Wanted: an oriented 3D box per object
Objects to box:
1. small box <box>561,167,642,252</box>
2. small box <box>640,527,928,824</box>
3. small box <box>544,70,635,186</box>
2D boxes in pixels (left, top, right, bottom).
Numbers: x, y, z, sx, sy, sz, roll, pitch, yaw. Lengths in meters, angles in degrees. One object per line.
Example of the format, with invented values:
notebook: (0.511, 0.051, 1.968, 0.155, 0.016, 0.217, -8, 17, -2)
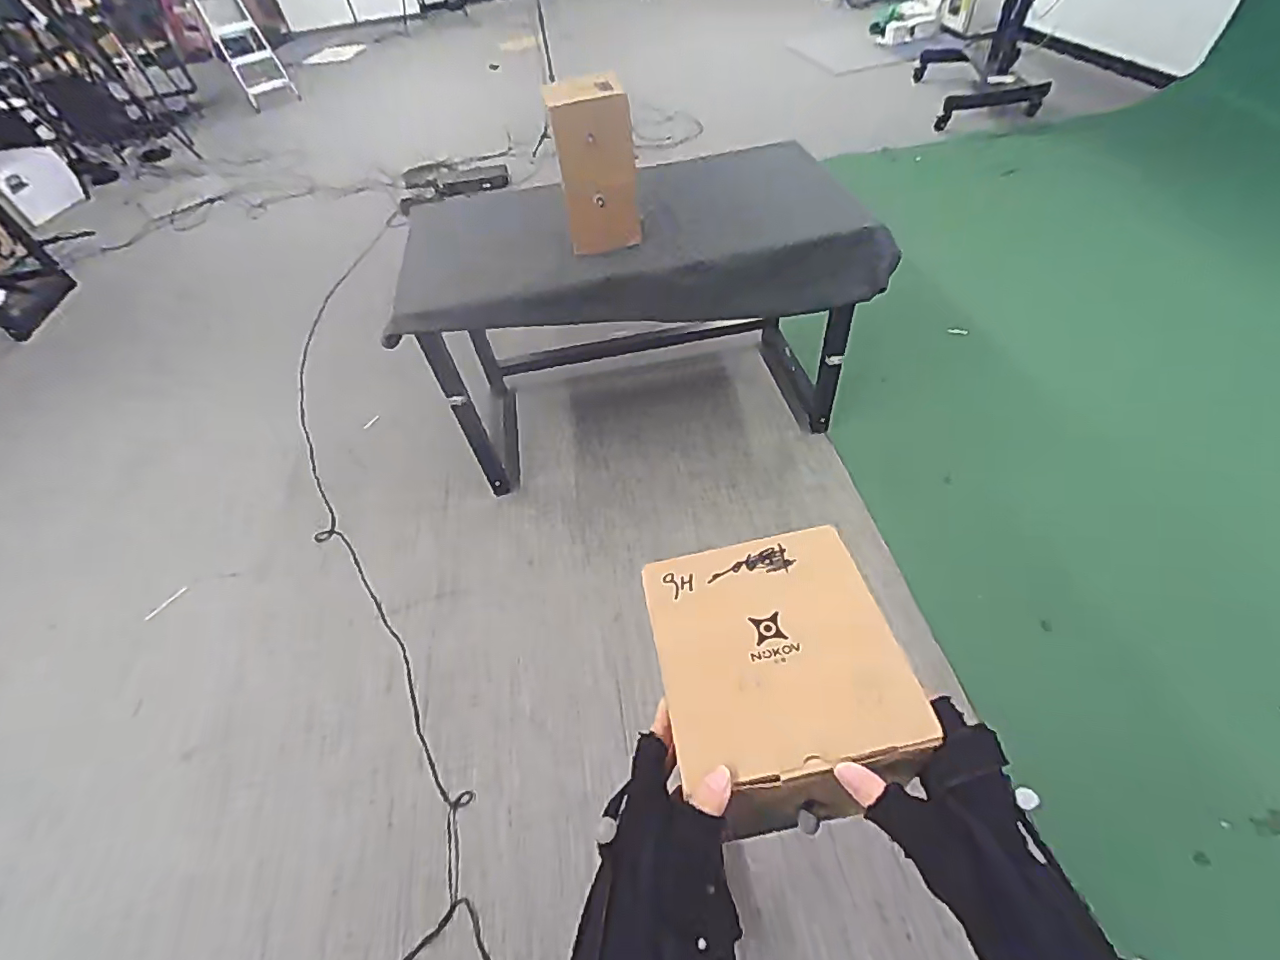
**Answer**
small box: (-0.096, -0.698, 1.367, 0.179, 0.176, 0.168, -10, 51, -2)
small box: (0.103, 0.170, 0.454, 0.168, 0.176, 0.179, -12, 48, -1)
small box: (-0.112, -0.804, 1.242, 0.179, 0.176, 0.168, -12, 51, -1)
